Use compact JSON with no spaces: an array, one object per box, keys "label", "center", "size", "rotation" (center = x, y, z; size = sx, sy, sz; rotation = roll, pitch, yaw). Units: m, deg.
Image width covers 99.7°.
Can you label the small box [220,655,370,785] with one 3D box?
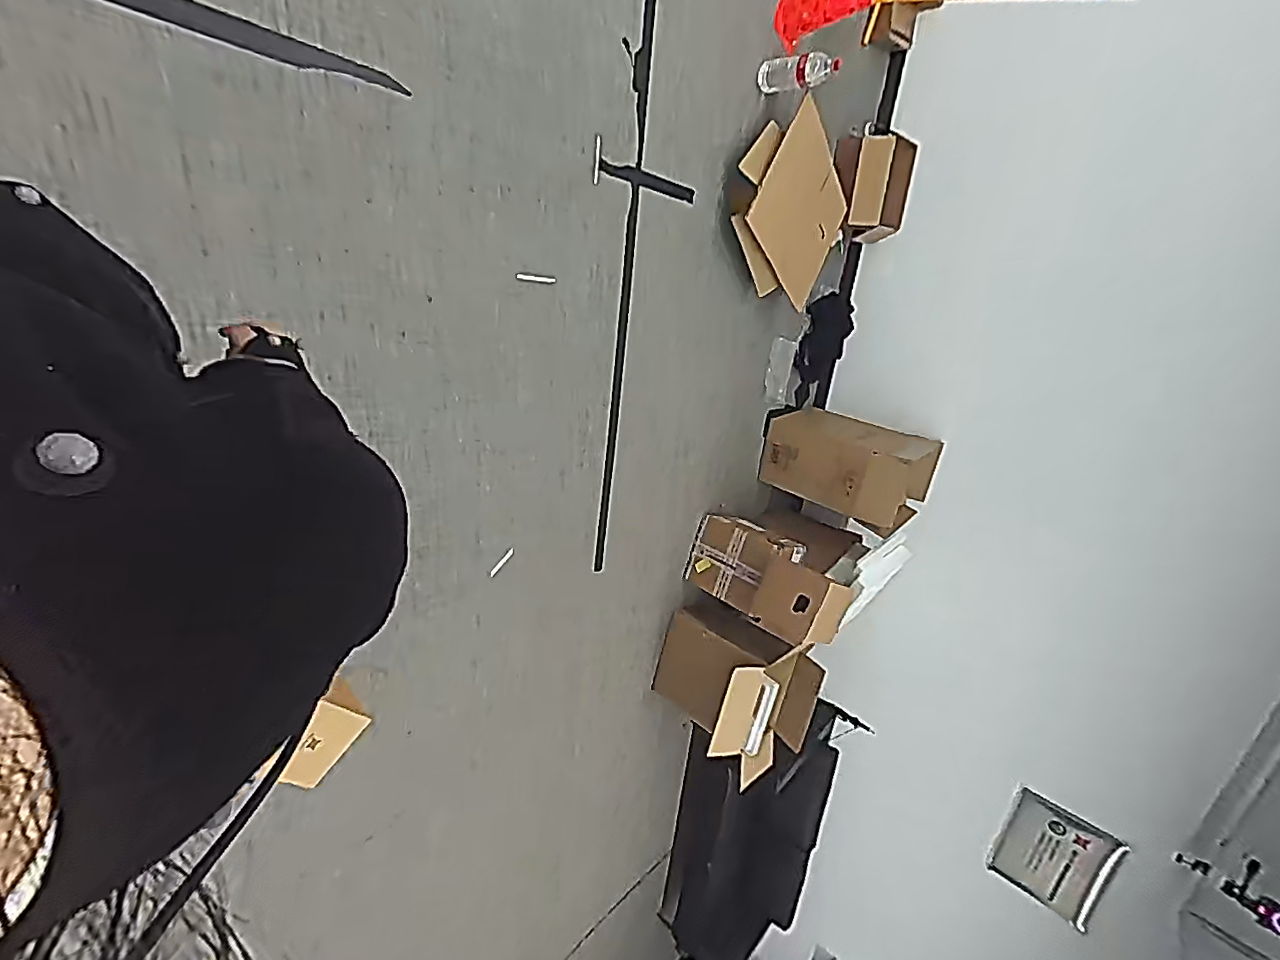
[{"label":"small box","center":[-0.716,0.494,1.127],"size":[0.168,0.176,0.179],"rotation":[-51,141,-19]}]
